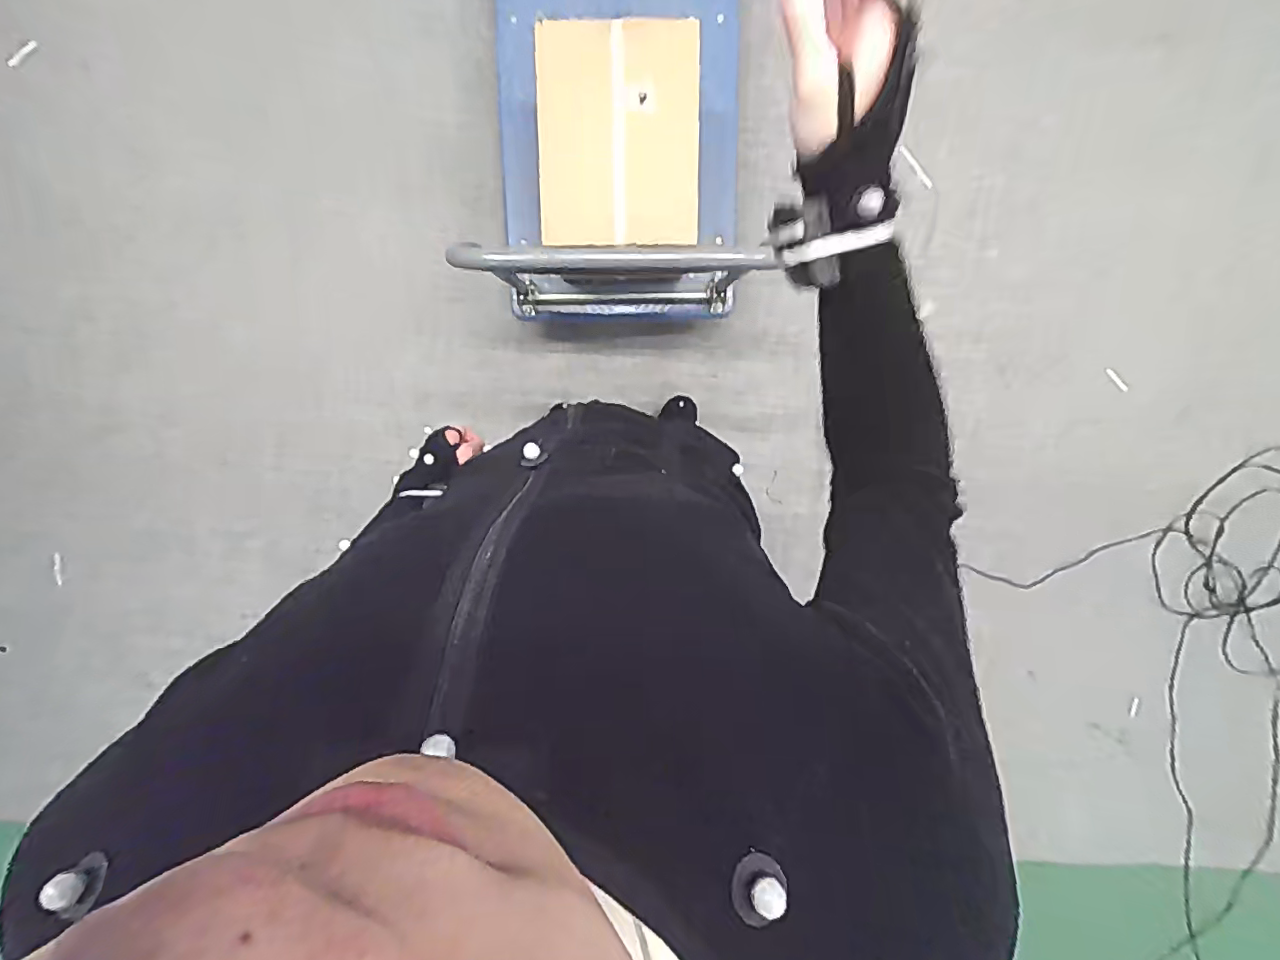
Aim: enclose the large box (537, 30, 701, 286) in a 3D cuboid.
[{"bbox_3d":[-0.038,-0.670,1.196,0.320,0.320,0.408,-1,98,-1],"label":"large box"}]
